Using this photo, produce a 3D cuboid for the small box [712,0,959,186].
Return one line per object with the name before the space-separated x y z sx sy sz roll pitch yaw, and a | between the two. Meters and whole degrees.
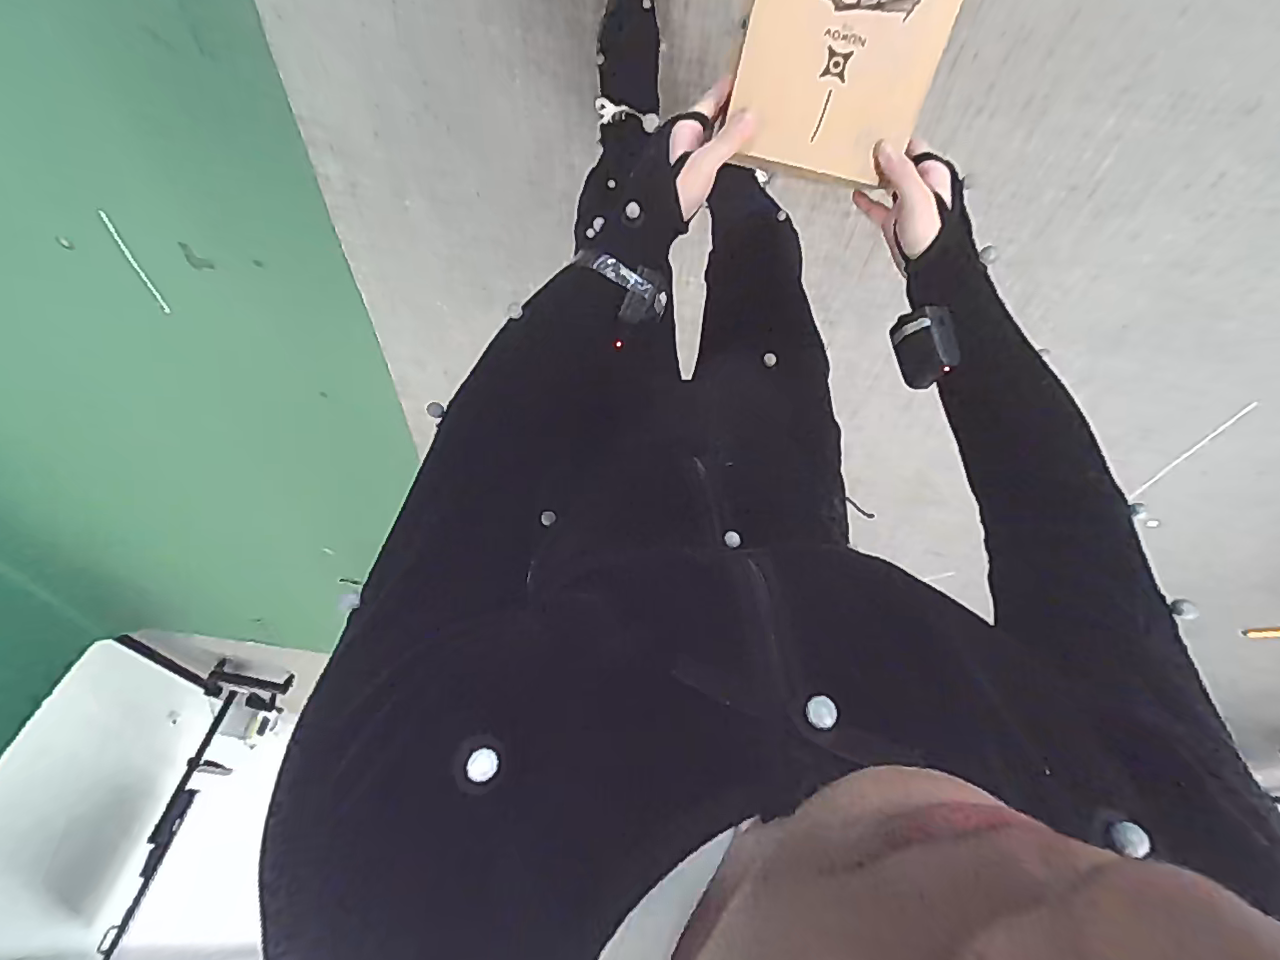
small box | 0.171 -0.402 0.526 0.168 0.176 0.179 12 120 -3
